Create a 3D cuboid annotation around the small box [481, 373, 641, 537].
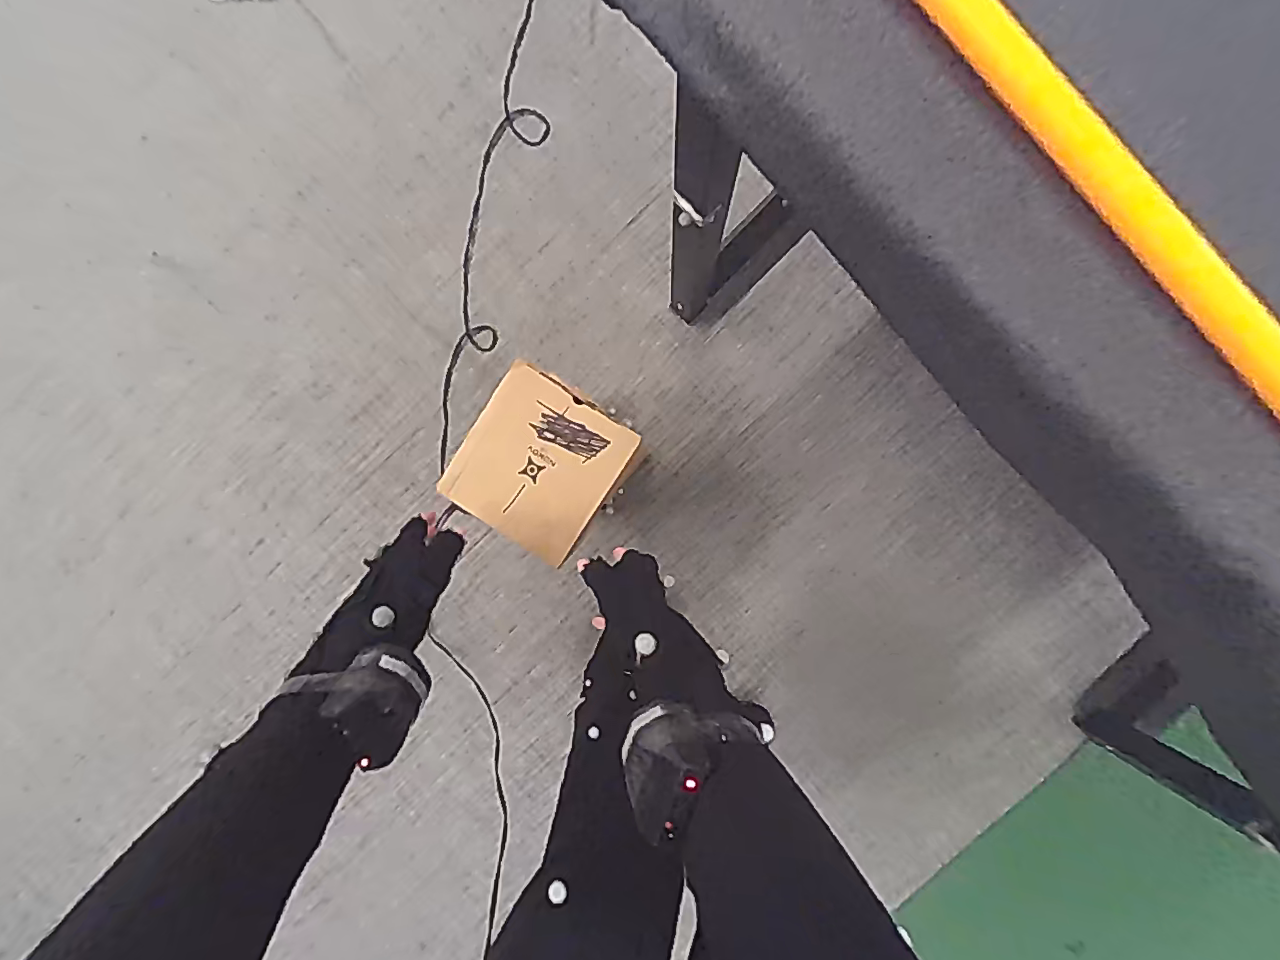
[{"bbox_3d":[-0.108,-0.035,0.839,0.168,0.176,0.179,35,92,2],"label":"small box"}]
